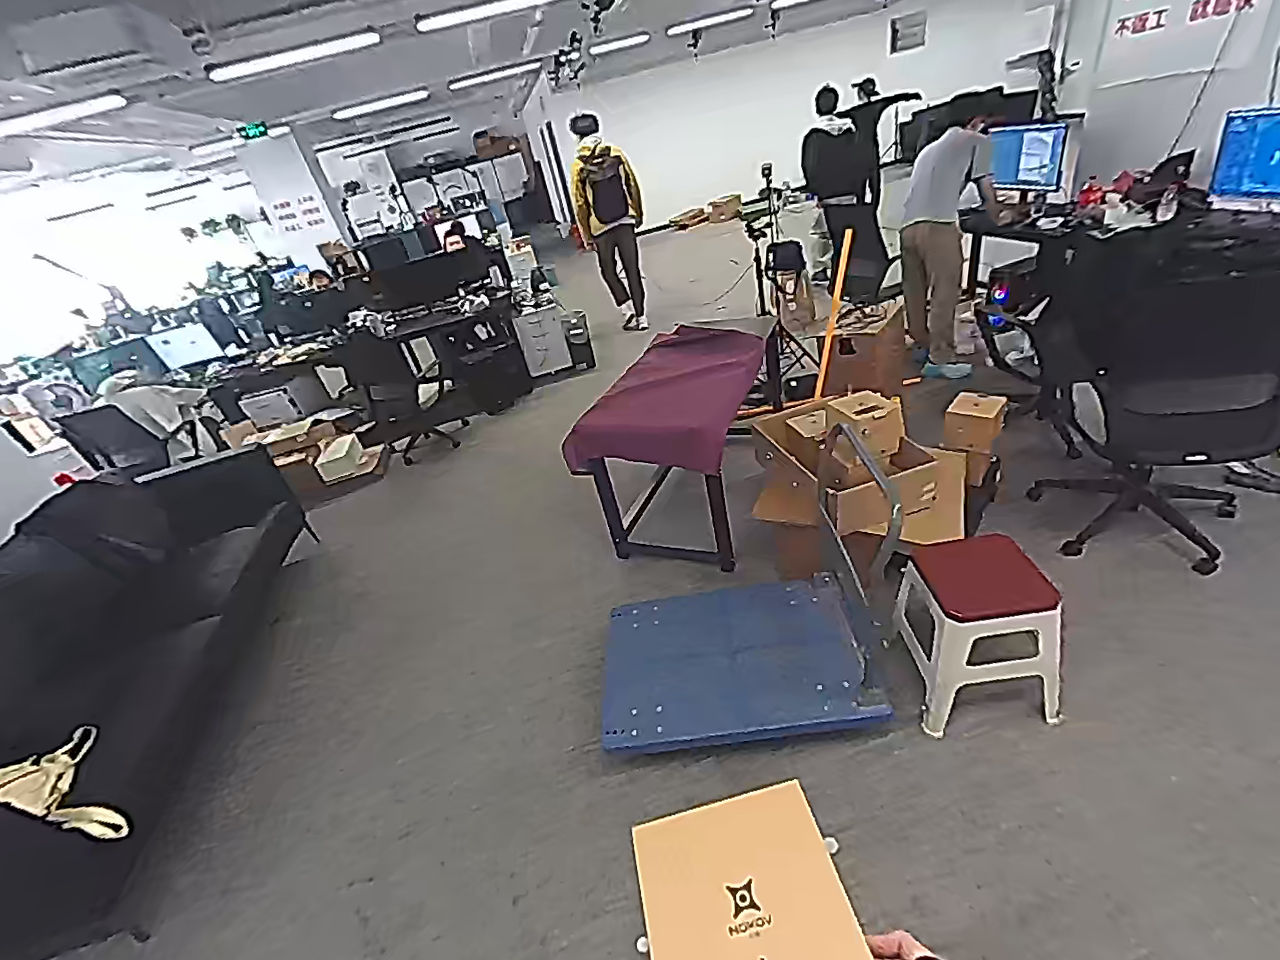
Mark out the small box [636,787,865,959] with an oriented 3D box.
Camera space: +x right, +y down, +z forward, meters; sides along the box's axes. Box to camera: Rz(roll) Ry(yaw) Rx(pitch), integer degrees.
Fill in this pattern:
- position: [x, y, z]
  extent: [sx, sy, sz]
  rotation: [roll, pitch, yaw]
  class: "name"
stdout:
- position: [0.100, 0.423, 0.490]
  extent: [0.168, 0.176, 0.179]
  rotation: [-14, 34, -1]
  class: "small box"
